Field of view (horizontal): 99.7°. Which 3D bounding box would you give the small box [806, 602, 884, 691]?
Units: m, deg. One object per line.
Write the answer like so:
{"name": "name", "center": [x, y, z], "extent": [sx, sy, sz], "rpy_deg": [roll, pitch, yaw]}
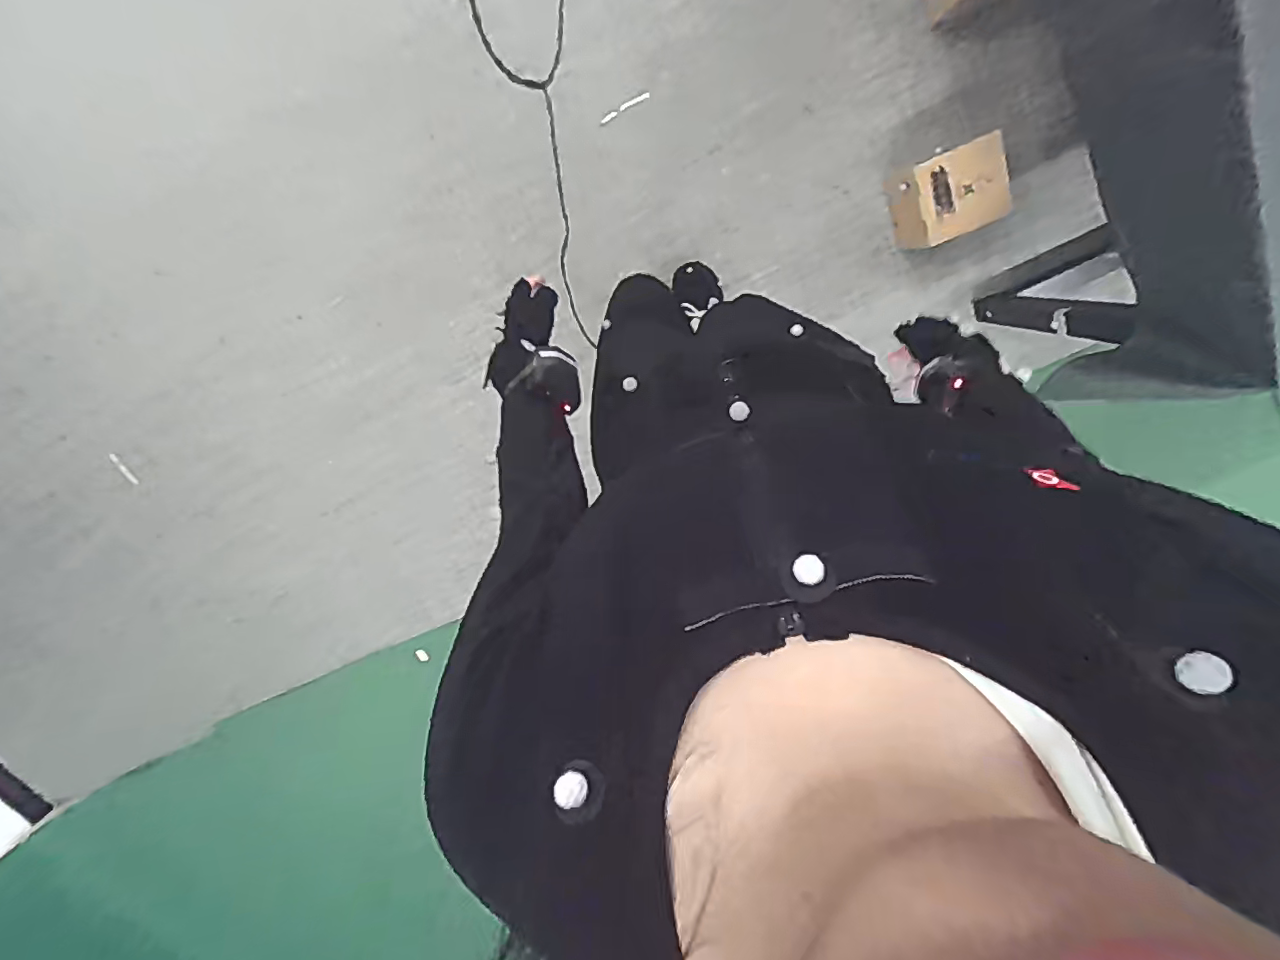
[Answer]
{"name": "small box", "center": [0.610, 0.495, 1.623], "extent": [0.168, 0.176, 0.179], "rpy_deg": [-14, 109, 7]}
